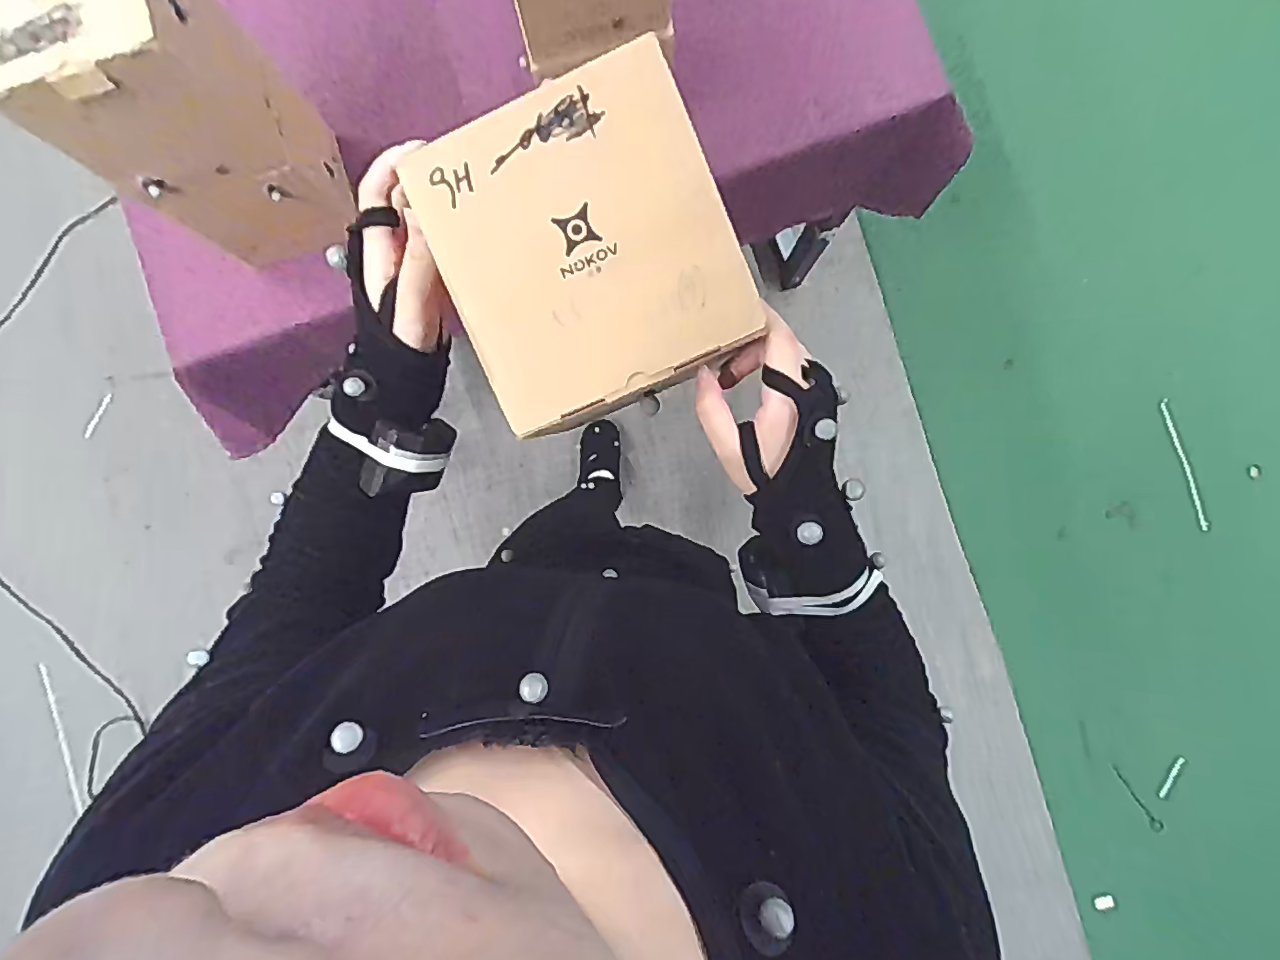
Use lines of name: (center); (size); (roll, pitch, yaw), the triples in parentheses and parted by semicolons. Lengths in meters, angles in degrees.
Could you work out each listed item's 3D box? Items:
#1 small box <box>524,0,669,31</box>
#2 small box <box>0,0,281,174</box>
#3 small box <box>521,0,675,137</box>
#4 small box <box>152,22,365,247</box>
small box: (-0.063, -0.609, 0.552); (0.168, 0.176, 0.179); (-13, 87, 1)
small box: (-0.515, -0.452, 0.557); (0.168, 0.176, 0.179); (-18, 86, 0)
small box: (-0.056, -0.594, 0.714); (0.179, 0.176, 0.168); (-13, 88, 1)
small box: (-0.508, -0.441, 0.721); (0.179, 0.176, 0.168); (-17, 87, 0)
